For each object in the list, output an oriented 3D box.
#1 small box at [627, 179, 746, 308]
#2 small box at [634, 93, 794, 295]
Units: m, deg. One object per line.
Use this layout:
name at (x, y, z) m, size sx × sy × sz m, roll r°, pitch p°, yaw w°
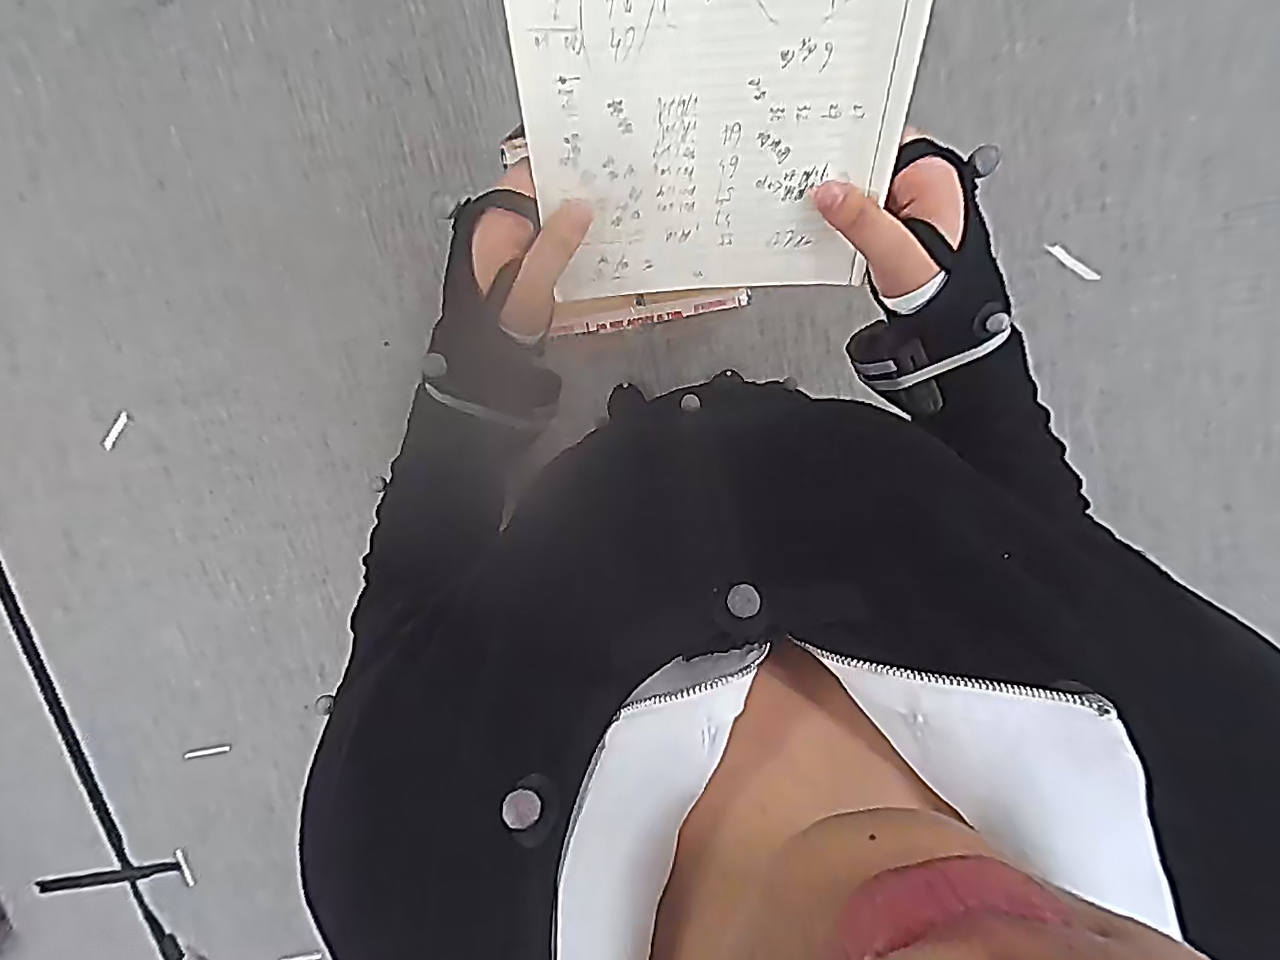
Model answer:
small box at (0.081, -0.382, 0.860) m, size 0.179 × 0.176 × 0.168 m, roll -13°, pitch 101°, yaw 3°
small box at (0.085, -0.352, 0.699) m, size 0.168 × 0.176 × 0.179 m, roll -10°, pitch 102°, yaw 1°
